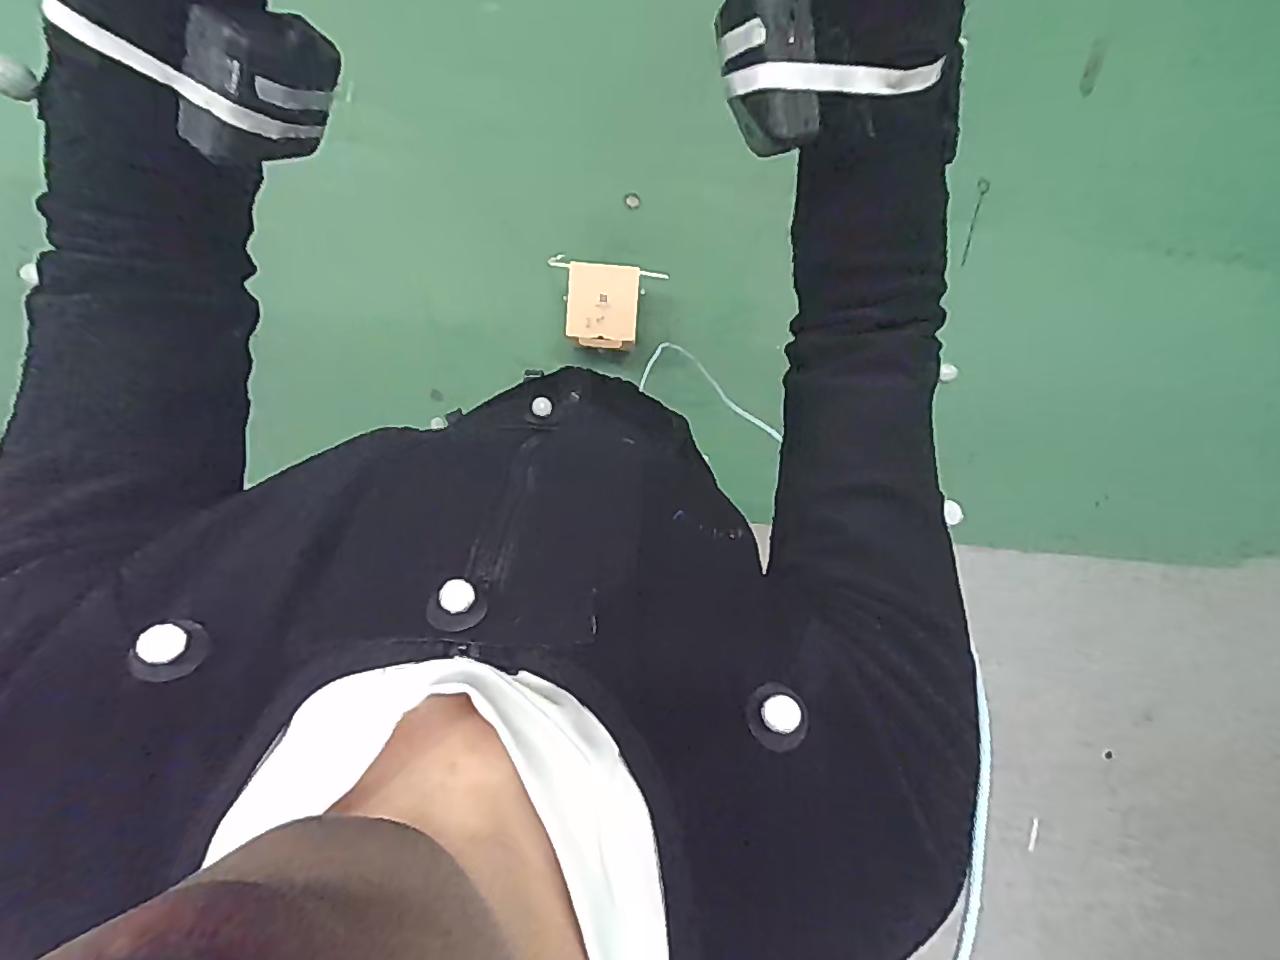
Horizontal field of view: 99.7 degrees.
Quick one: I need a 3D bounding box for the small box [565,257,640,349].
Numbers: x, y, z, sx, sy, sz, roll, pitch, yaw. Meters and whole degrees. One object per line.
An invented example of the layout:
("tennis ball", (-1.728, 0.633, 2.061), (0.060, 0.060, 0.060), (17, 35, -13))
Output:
("small box", (-0.093, -0.434, 1.348), (0.168, 0.176, 0.179), (4, 96, -3))
